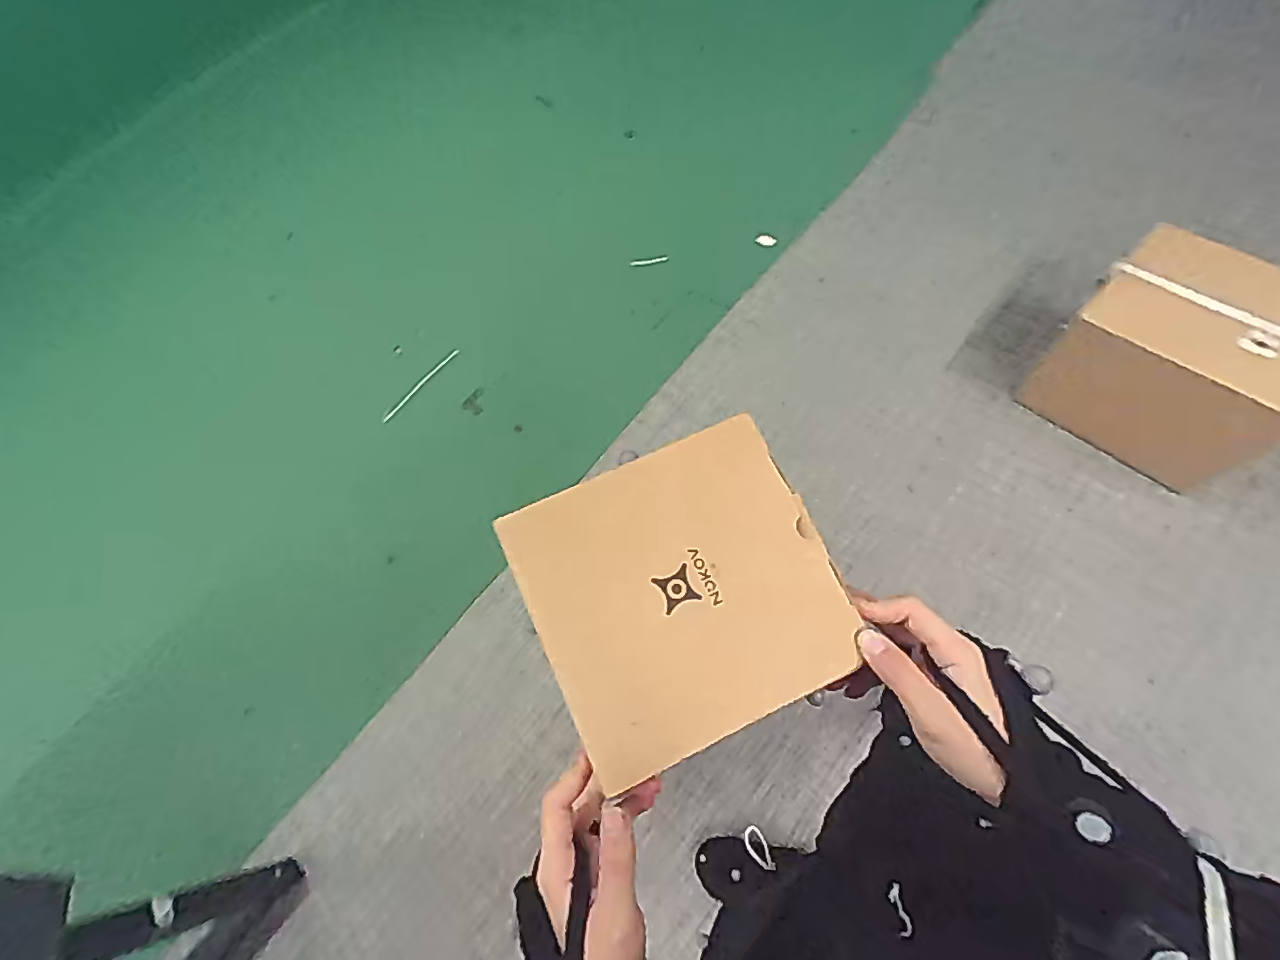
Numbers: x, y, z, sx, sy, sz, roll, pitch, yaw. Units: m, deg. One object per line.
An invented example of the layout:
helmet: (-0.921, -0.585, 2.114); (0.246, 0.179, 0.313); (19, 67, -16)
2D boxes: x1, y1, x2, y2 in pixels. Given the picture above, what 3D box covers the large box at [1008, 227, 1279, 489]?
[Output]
large box: (1.129, -0.254, 1.166); (0.408, 0.320, 0.320); (41, 79, 23)
